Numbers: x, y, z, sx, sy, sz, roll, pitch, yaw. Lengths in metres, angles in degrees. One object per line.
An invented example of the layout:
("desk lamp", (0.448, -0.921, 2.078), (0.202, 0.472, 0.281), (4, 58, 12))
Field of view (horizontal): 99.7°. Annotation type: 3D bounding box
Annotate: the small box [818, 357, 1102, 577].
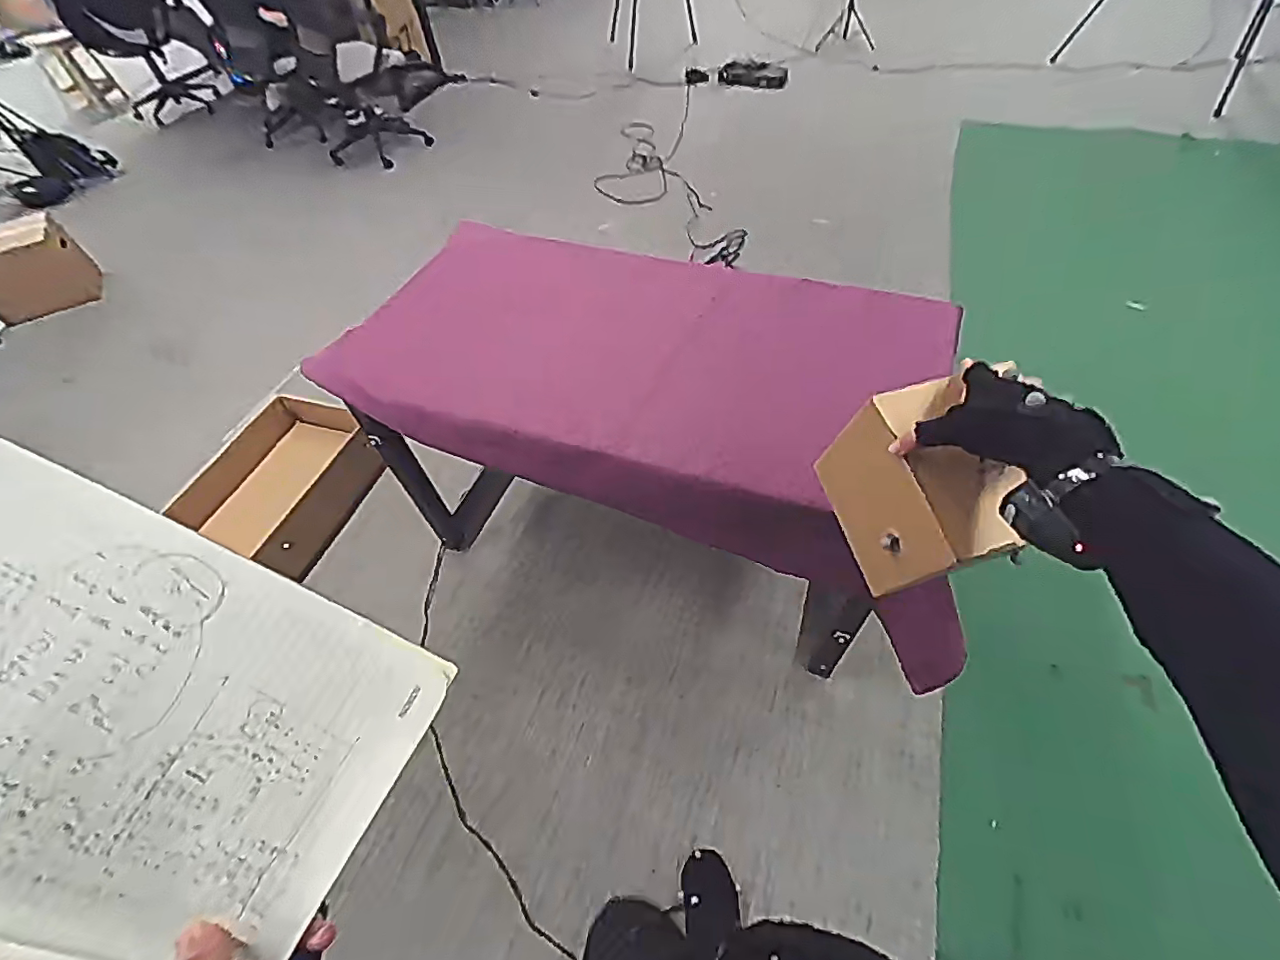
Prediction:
("small box", (0.324, -0.002, 0.590), (0.168, 0.176, 0.179), (-14, 69, -9))
